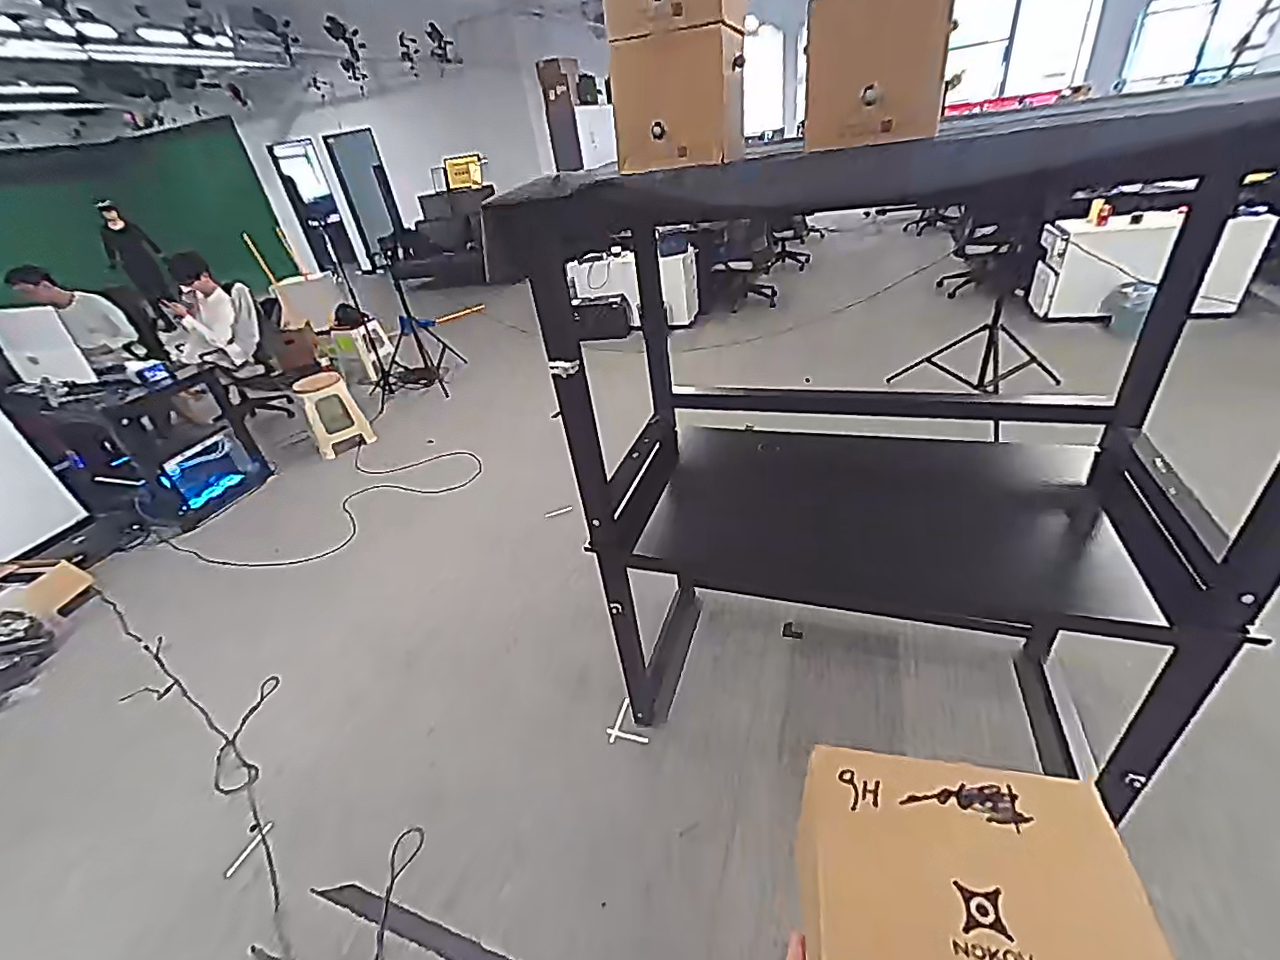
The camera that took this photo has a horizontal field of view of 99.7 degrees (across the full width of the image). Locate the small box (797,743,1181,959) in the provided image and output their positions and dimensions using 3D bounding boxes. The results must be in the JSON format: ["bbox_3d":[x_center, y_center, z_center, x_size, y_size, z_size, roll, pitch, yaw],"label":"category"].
[{"bbox_3d":[0.185,0.292,0.319,0.168,0.176,0.179,3,37,12],"label":"small box"}]

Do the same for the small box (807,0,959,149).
[{"bbox_3d":[0.322,-0.557,0.736,0.168,0.176,0.179,5,33,21],"label":"small box"}]

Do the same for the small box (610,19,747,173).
[{"bbox_3d":[0.067,-0.578,0.833,0.168,0.176,0.179,5,34,19],"label":"small box"}]
